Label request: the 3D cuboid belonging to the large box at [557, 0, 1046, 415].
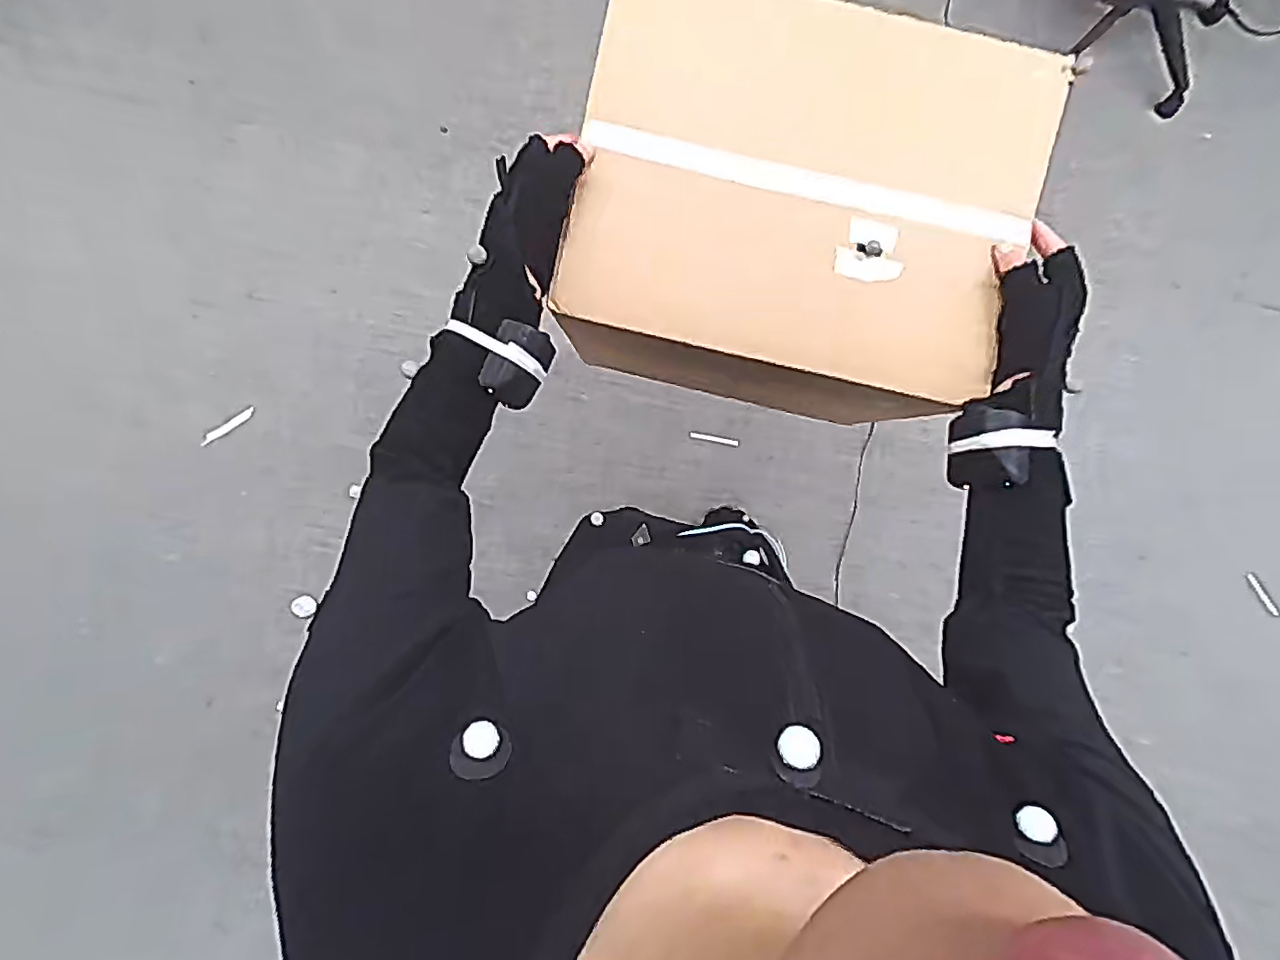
[{"bbox_3d":[0.142,-0.277,0.643,0.408,0.320,0.320,13,94,-2],"label":"large box"}]
